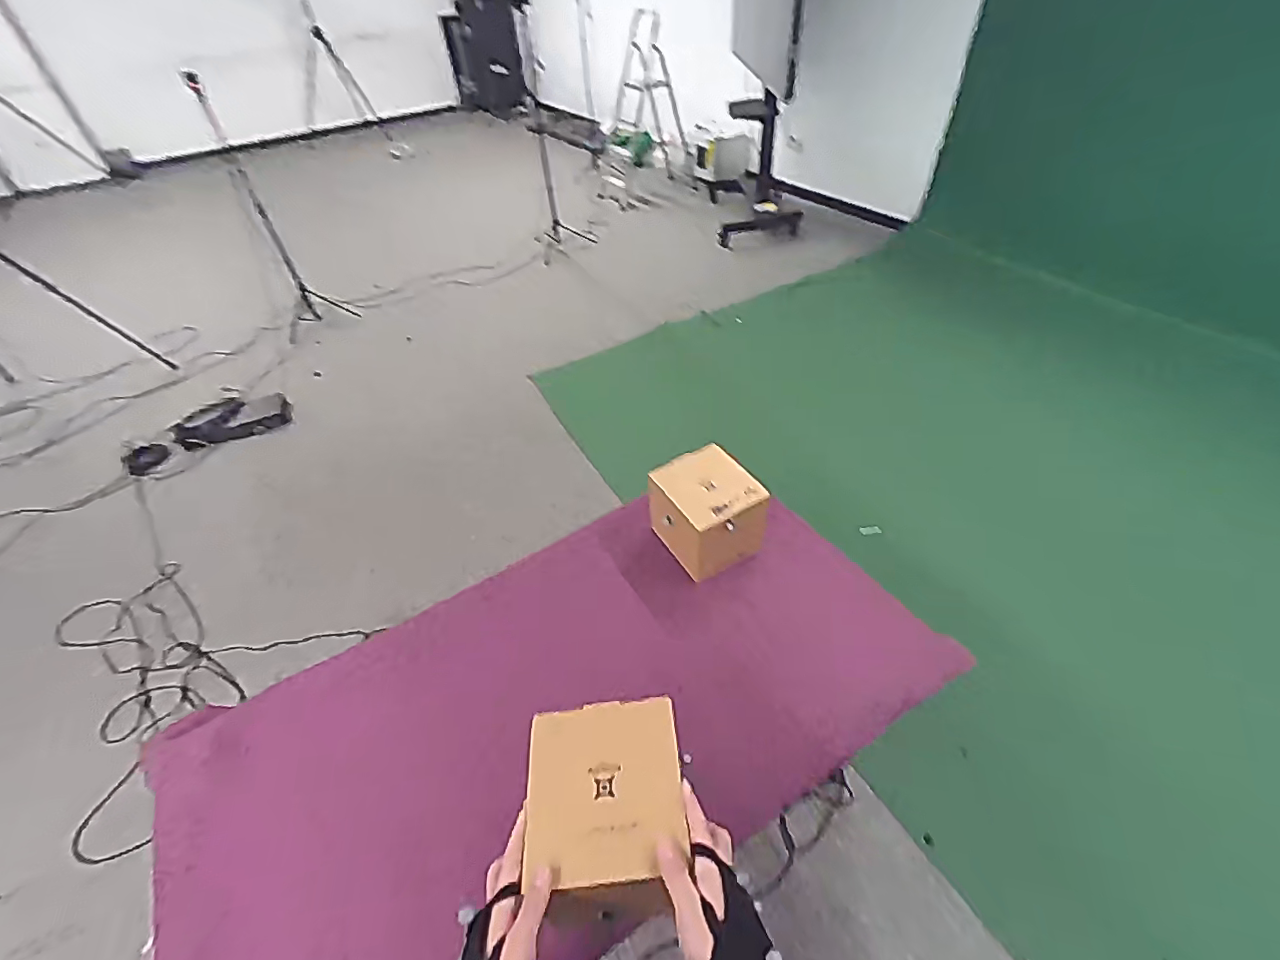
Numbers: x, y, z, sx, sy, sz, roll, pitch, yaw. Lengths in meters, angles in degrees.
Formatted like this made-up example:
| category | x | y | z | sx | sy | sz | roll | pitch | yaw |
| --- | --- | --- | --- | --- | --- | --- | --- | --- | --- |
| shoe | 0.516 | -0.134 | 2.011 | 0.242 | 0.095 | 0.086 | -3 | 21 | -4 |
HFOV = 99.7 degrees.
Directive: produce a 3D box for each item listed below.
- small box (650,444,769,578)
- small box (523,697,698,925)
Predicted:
| category | x | y | z | sx | sy | sz | roll | pitch | yaw |
| --- | --- | --- | --- | --- | --- | --- | --- | --- | --- |
| small box | 0.135 | 0.062 | 1.091 | 0.168 | 0.176 | 0.179 | -26 | 48 | -18 |
| small box | -0.027 | 0.377 | 0.621 | 0.168 | 0.176 | 0.179 | -7 | 41 | 1 |
